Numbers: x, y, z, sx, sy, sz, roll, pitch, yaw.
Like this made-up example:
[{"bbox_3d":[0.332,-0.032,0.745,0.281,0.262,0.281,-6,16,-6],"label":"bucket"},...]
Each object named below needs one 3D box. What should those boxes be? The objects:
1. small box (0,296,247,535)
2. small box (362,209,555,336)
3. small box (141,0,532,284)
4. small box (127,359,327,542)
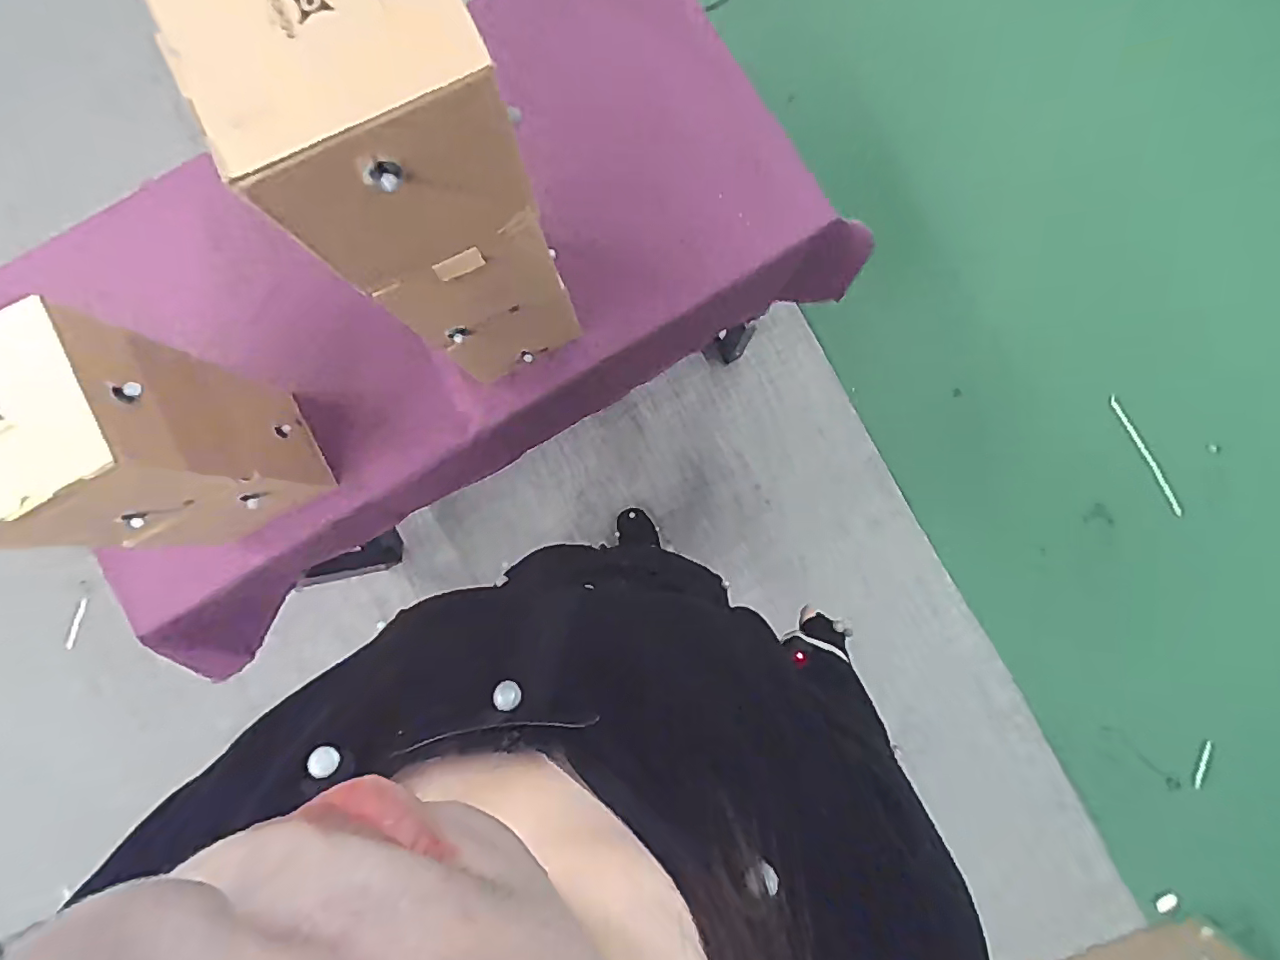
[{"bbox_3d":[-0.569,-0.050,0.561,0.168,0.176,0.179,-28,87,-1],"label":"small box"},{"bbox_3d":[-0.205,-0.271,0.569,0.168,0.176,0.179,-26,85,-1],"label":"small box"},{"bbox_3d":[-0.203,-0.278,0.406,0.179,0.176,0.168,-25,88,-1],"label":"small box"},{"bbox_3d":[-0.559,-0.031,0.723,0.179,0.176,0.168,-29,85,-1],"label":"small box"}]
